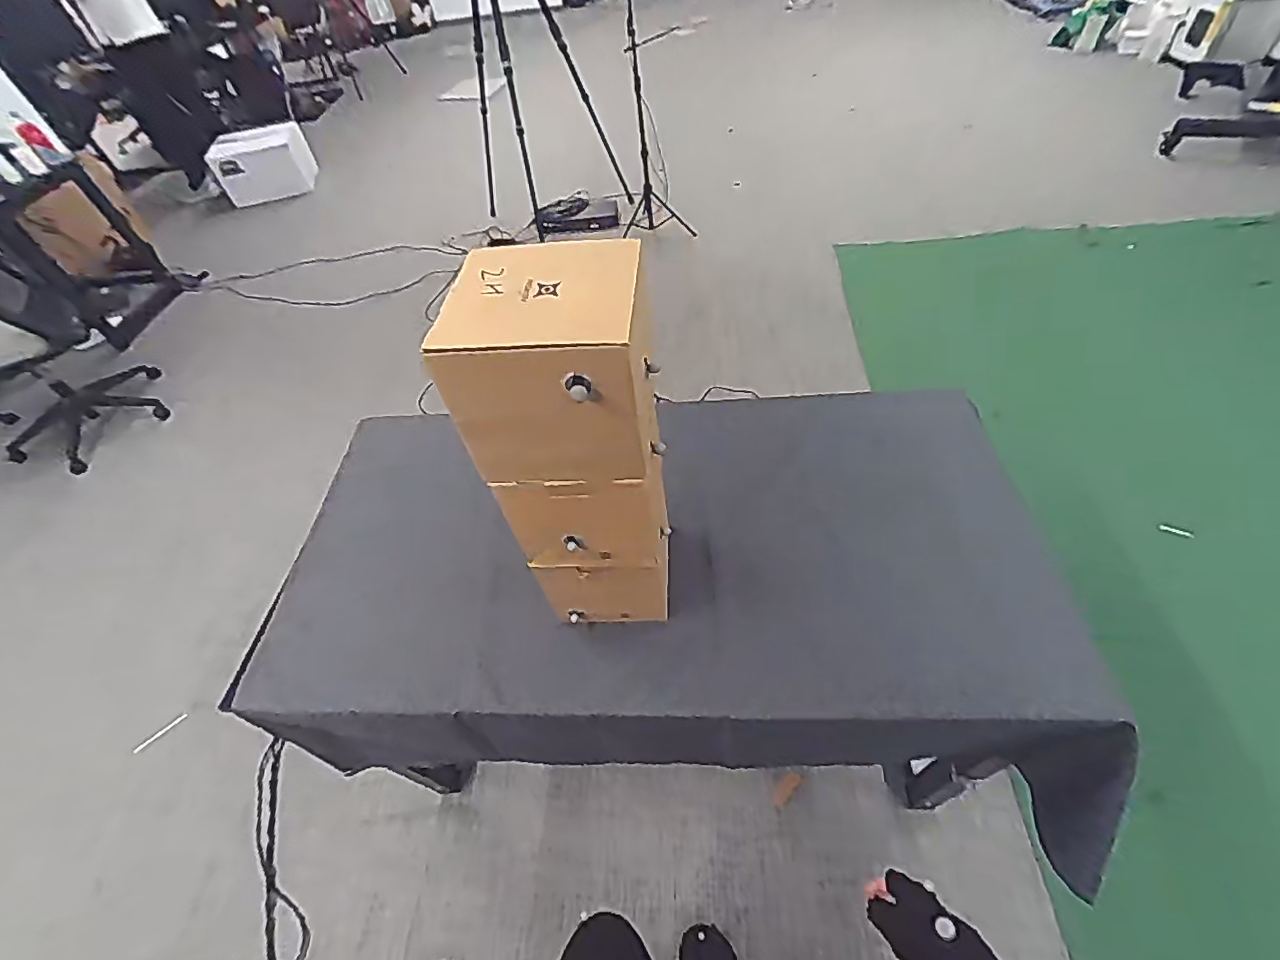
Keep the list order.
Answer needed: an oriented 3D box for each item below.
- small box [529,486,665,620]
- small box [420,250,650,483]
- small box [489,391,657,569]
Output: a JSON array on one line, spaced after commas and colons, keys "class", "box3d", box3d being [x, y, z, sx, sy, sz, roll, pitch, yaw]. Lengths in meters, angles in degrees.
[{"class": "small box", "box3d": [-0.051, 0.097, 0.801, 0.168, 0.176, 0.179, -2, 49, 6]}, {"class": "small box", "box3d": [-0.084, -0.109, 0.549, 0.179, 0.176, 0.168, -1, 50, 7]}, {"class": "small box", "box3d": [-0.068, -0.006, 0.677, 0.168, 0.176, 0.179, -2, 50, 6]}]
